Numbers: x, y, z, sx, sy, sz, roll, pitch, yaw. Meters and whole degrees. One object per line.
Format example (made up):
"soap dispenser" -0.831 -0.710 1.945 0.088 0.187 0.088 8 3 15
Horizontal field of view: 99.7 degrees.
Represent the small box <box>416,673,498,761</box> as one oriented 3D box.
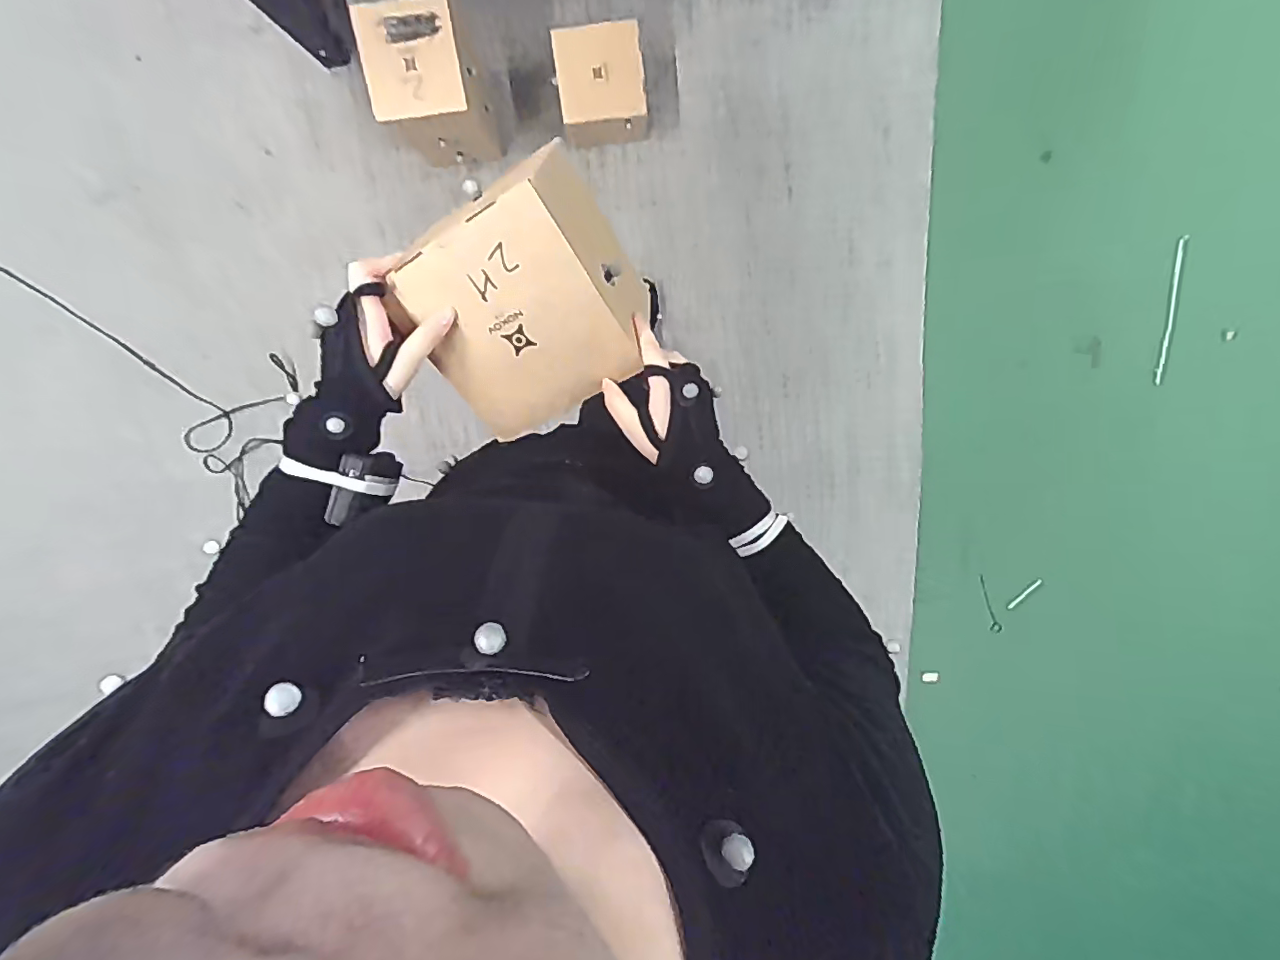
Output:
"small box" -0.527 0.690 1.591 0.179 0.176 0.168 -8 105 1
